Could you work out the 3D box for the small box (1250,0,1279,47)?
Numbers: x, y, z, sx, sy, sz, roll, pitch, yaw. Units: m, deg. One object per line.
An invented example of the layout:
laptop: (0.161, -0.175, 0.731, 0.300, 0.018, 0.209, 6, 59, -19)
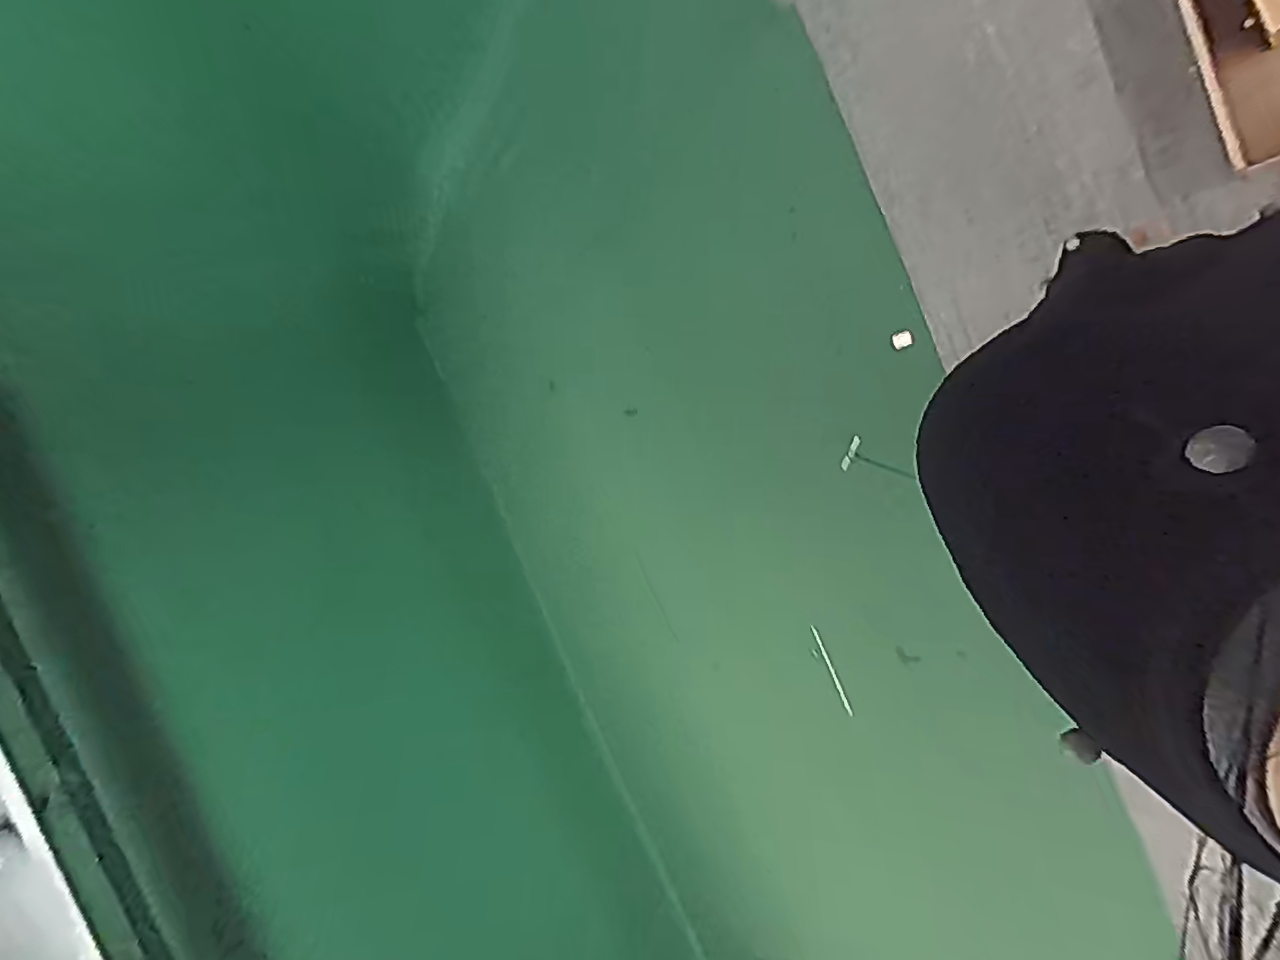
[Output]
small box: (0.958, -0.740, 0.741, 0.168, 0.176, 0.179, -23, 92, 53)
